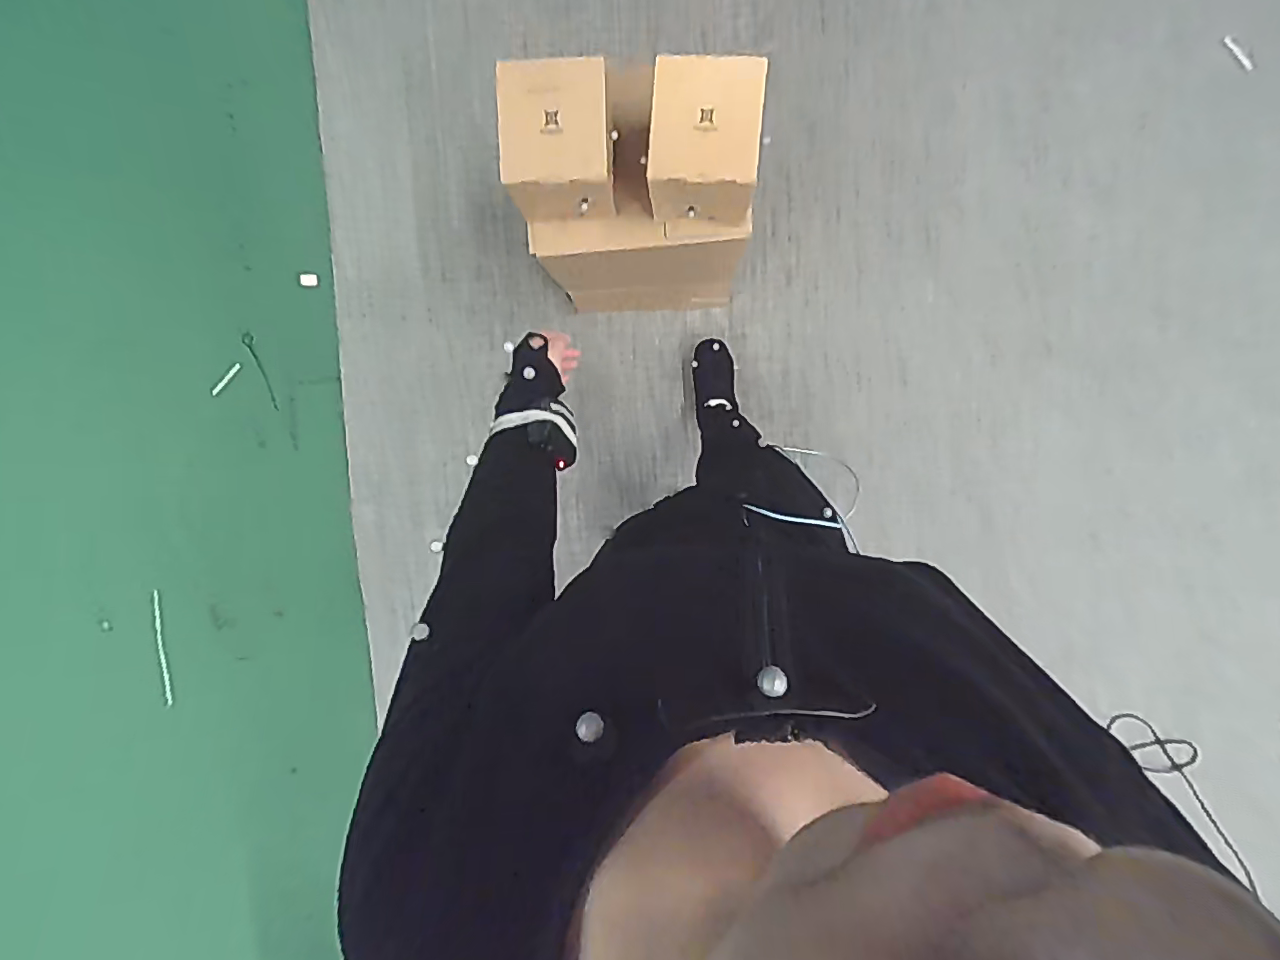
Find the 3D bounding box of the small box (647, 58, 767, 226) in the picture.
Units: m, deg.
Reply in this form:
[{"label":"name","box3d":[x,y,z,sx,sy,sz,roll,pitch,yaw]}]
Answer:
[{"label":"small box","box3d":[0.103,-0.537,0.877,0.168,0.176,0.179,4,96,5]}]

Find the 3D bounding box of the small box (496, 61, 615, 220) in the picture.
[{"label":"small box","box3d":[-0.130,-0.545,0.894,0.168,0.176,0.179,-1,96,2]}]
